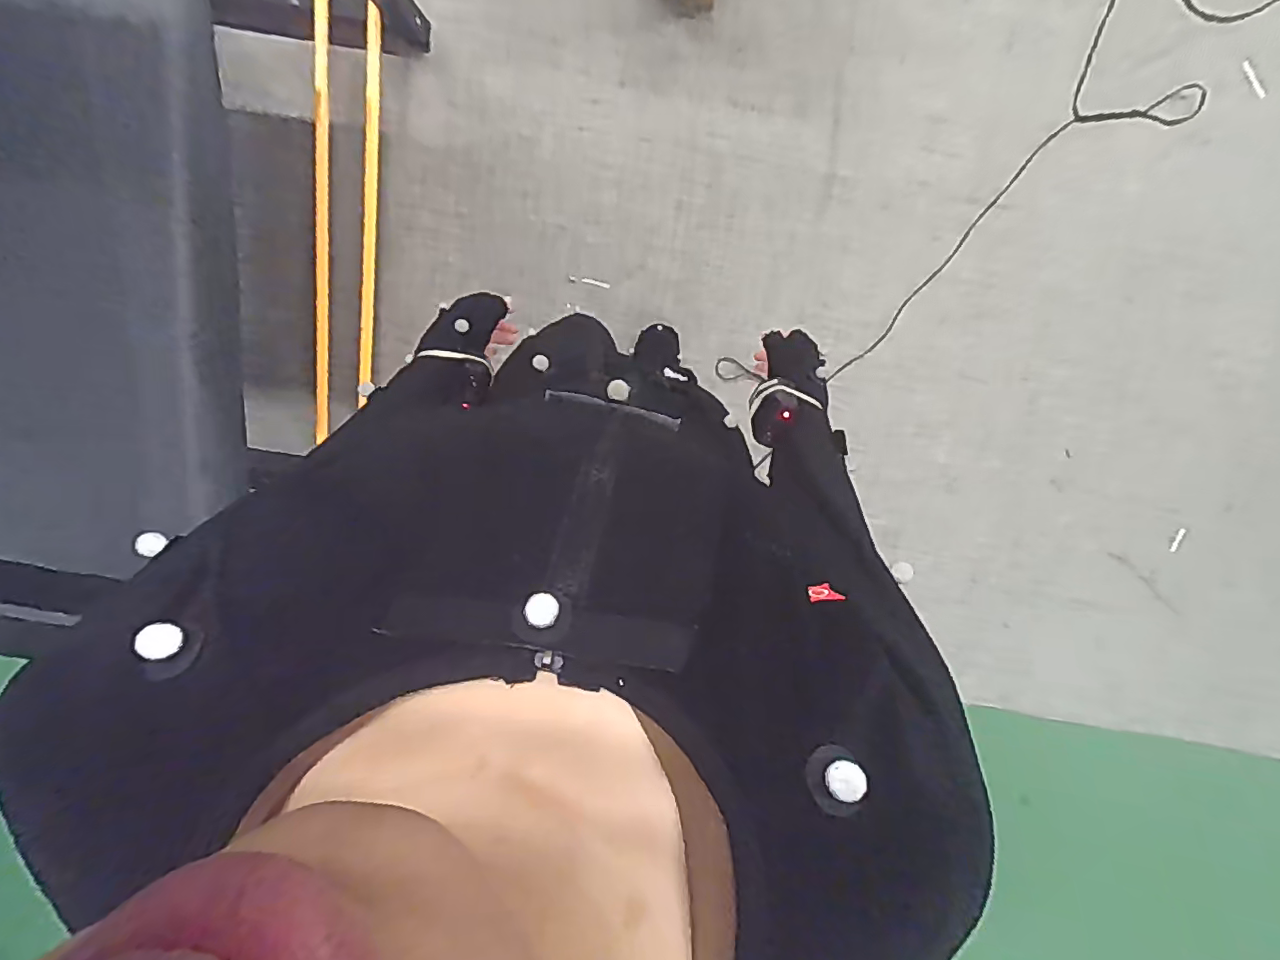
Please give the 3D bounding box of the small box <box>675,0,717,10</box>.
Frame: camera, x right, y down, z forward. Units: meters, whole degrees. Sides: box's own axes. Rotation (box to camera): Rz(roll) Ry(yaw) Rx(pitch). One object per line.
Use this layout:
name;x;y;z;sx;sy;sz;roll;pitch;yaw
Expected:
small box;0.107;-1.130;1.109;0.168;0.176;0.179;15;105;-1
